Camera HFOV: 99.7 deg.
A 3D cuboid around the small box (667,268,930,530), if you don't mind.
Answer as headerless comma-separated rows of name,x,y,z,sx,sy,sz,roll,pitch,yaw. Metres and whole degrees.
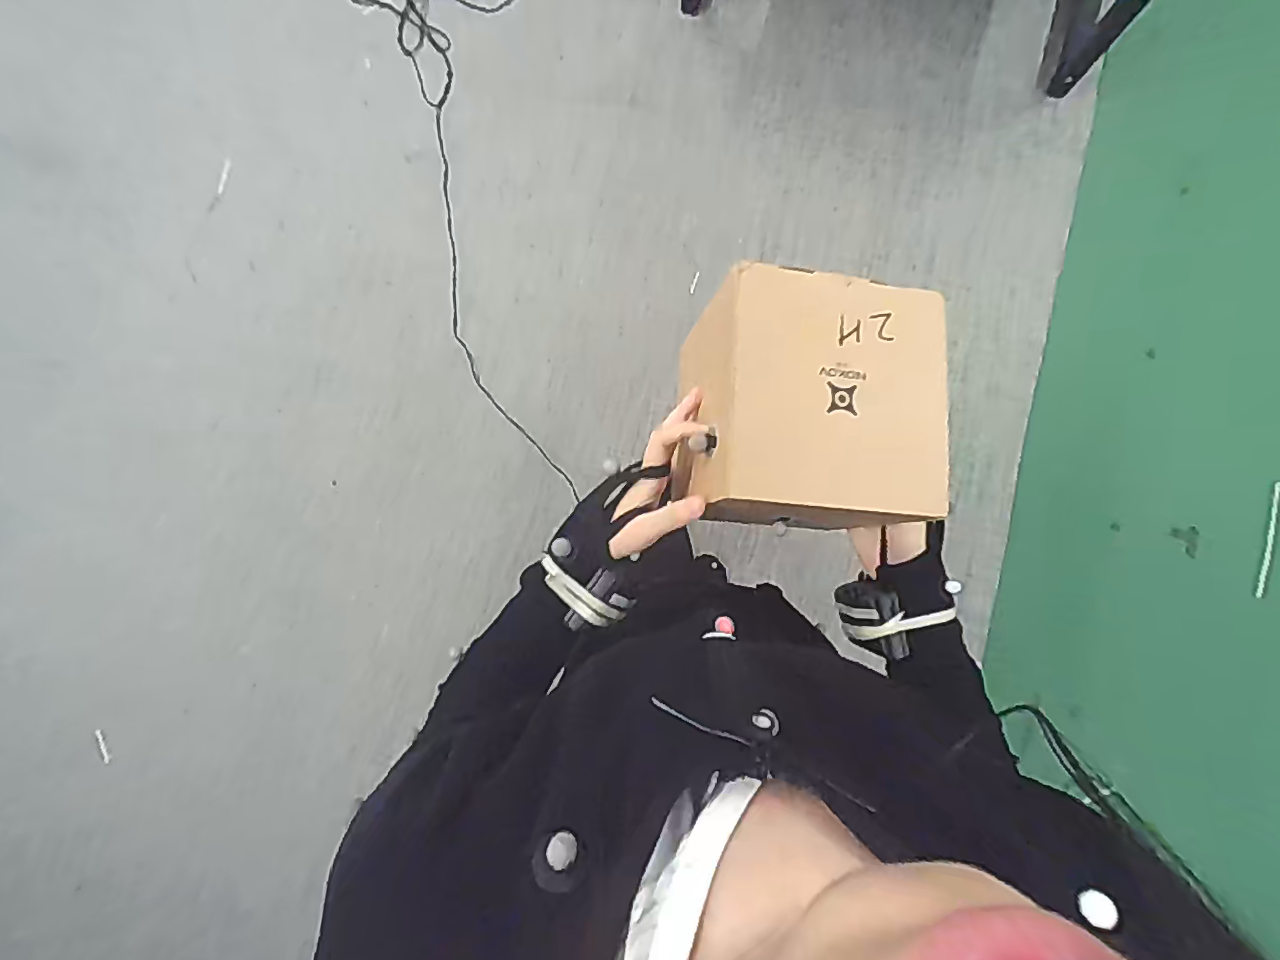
small box,0.122,-0.051,0.472,0.168,0.176,0.179,5,80,-10
